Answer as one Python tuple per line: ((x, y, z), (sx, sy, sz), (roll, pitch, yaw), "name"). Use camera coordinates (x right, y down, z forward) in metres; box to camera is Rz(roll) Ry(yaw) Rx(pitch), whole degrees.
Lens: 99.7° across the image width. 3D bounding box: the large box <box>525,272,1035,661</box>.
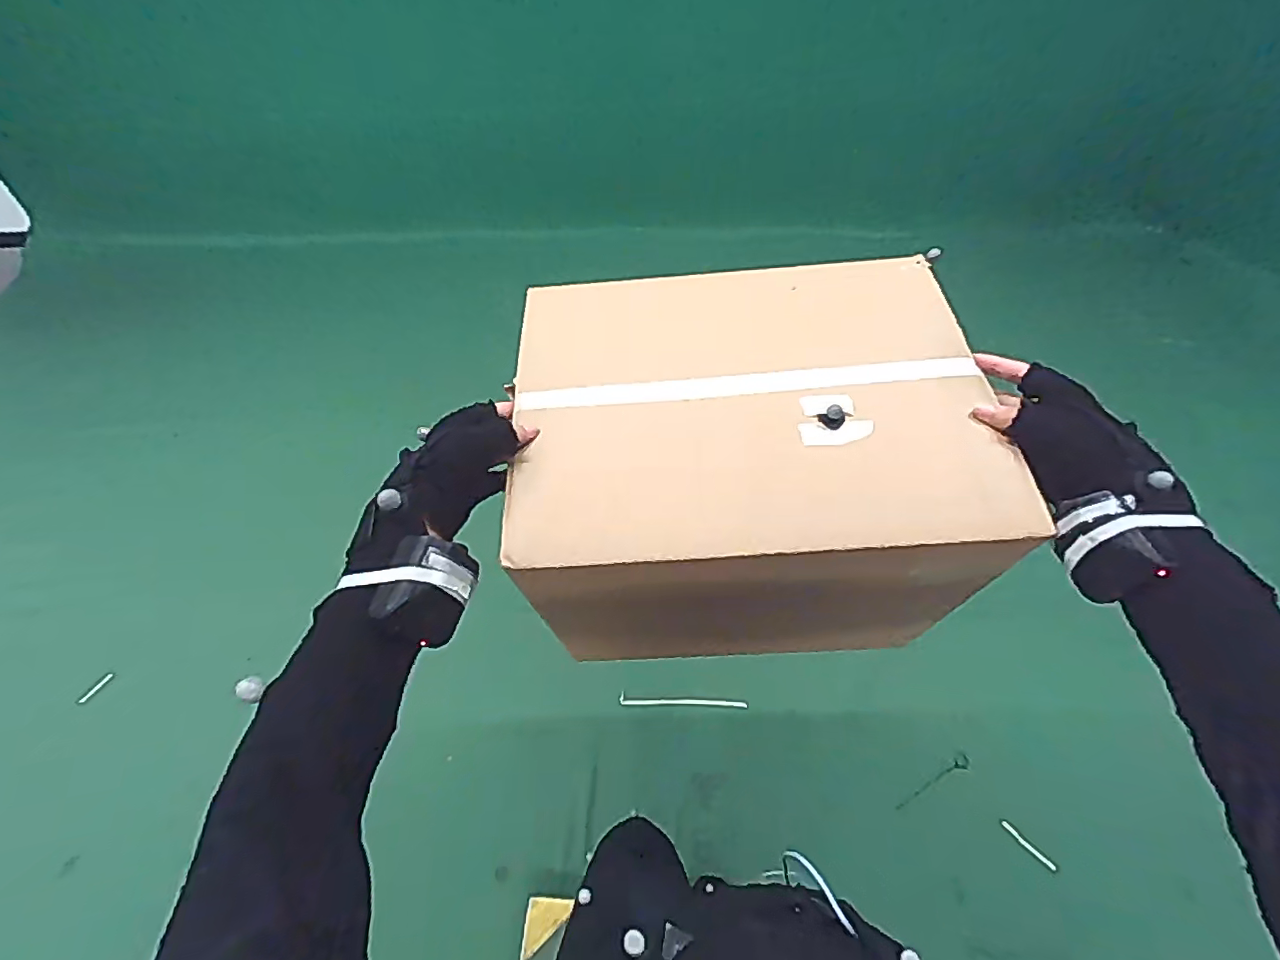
((0.105, 0.004, 0.618), (0.408, 0.320, 0.320), (-4, 59, 2), "large box")
